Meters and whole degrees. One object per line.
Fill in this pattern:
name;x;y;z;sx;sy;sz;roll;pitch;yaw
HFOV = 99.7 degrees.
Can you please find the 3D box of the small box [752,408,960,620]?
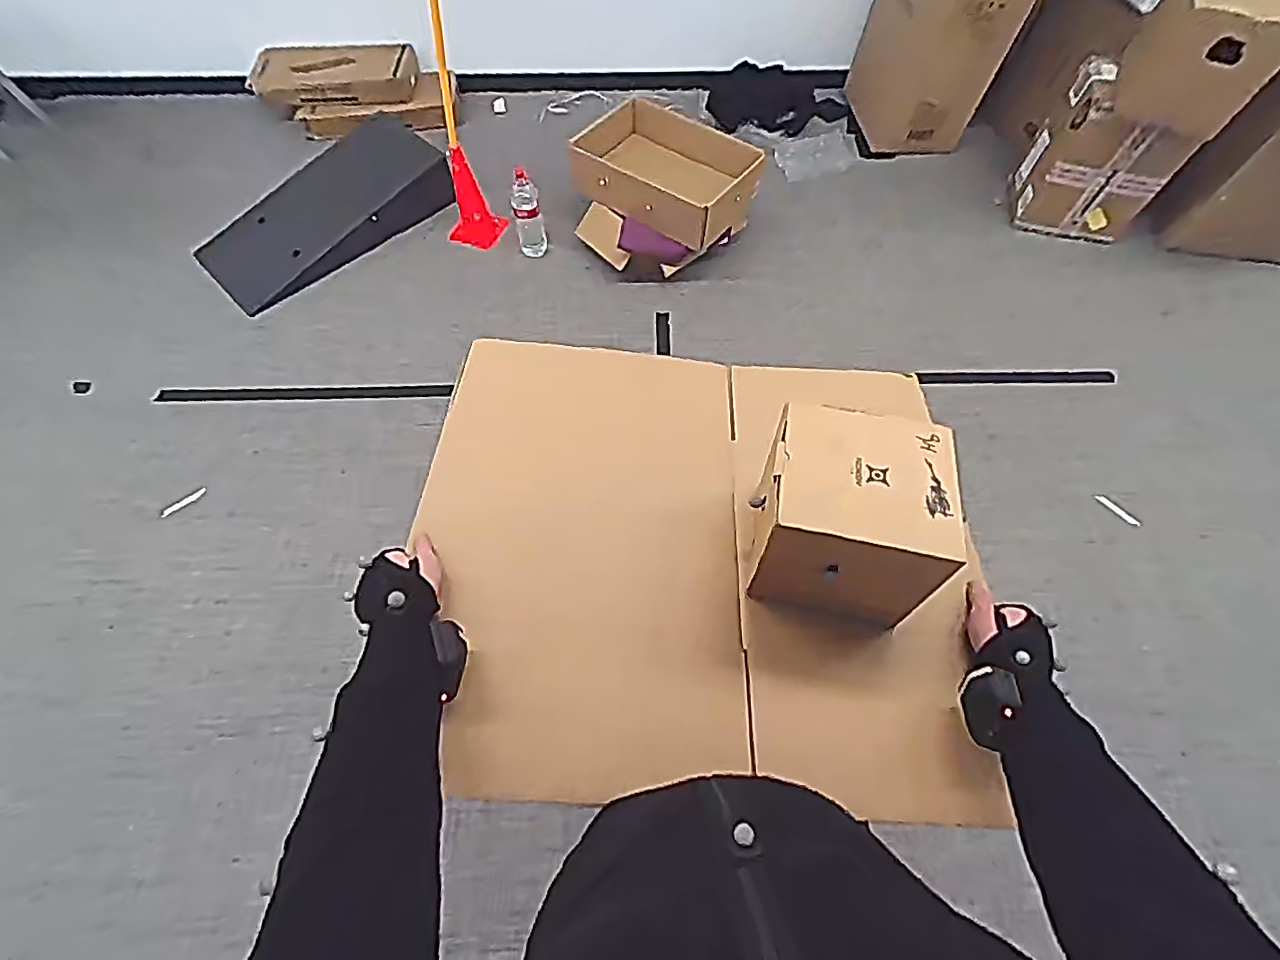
small box;0.230;0.043;0.618;0.179;0.176;0.168;10;57;8
